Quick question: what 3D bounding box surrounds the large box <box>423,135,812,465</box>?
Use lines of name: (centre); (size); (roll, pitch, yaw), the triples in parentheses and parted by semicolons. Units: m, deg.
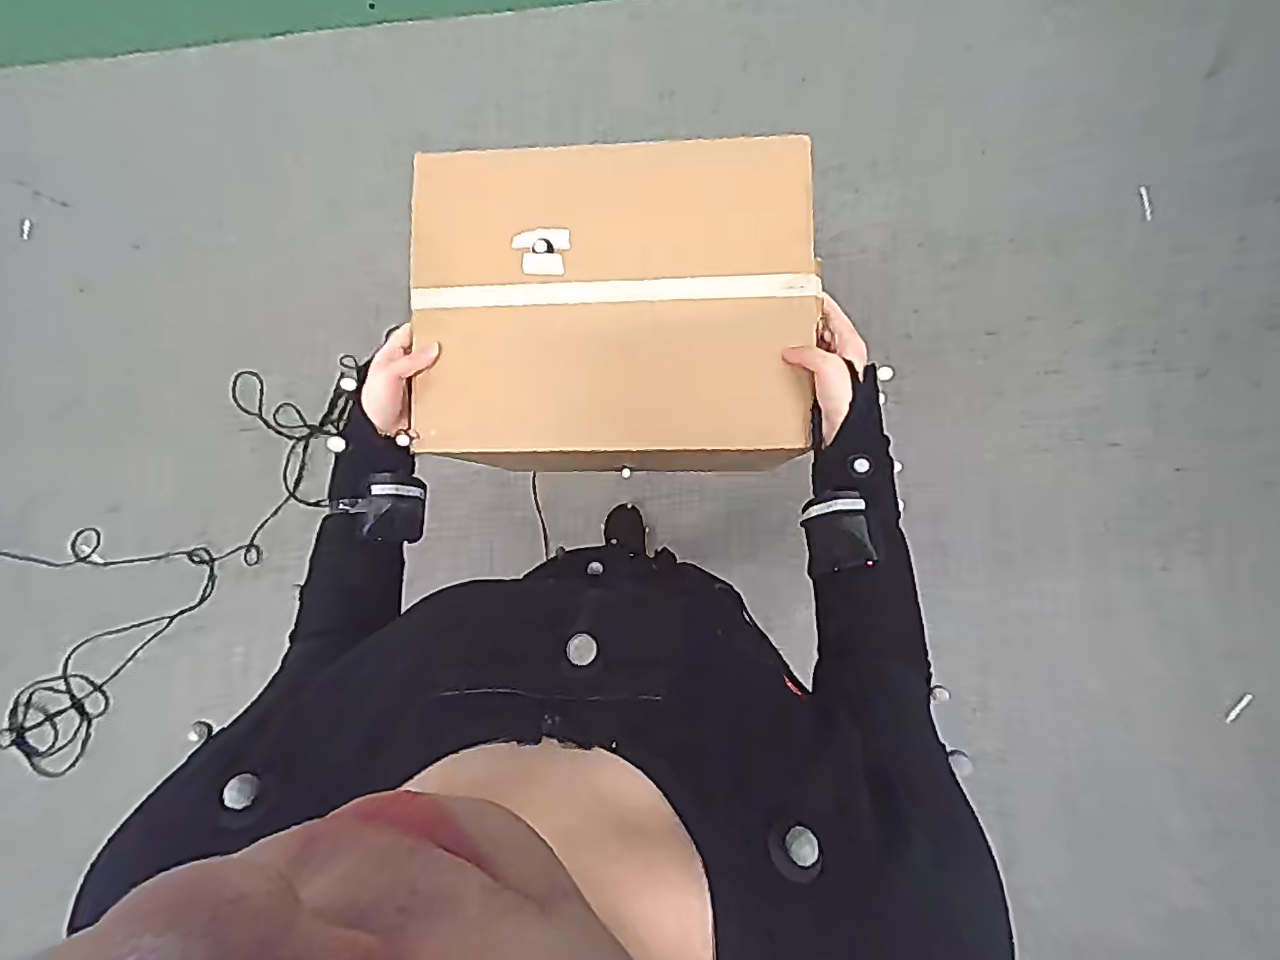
large box: (-0.016, -0.183, 0.701); (0.408, 0.320, 0.320); (-1, 87, 6)
